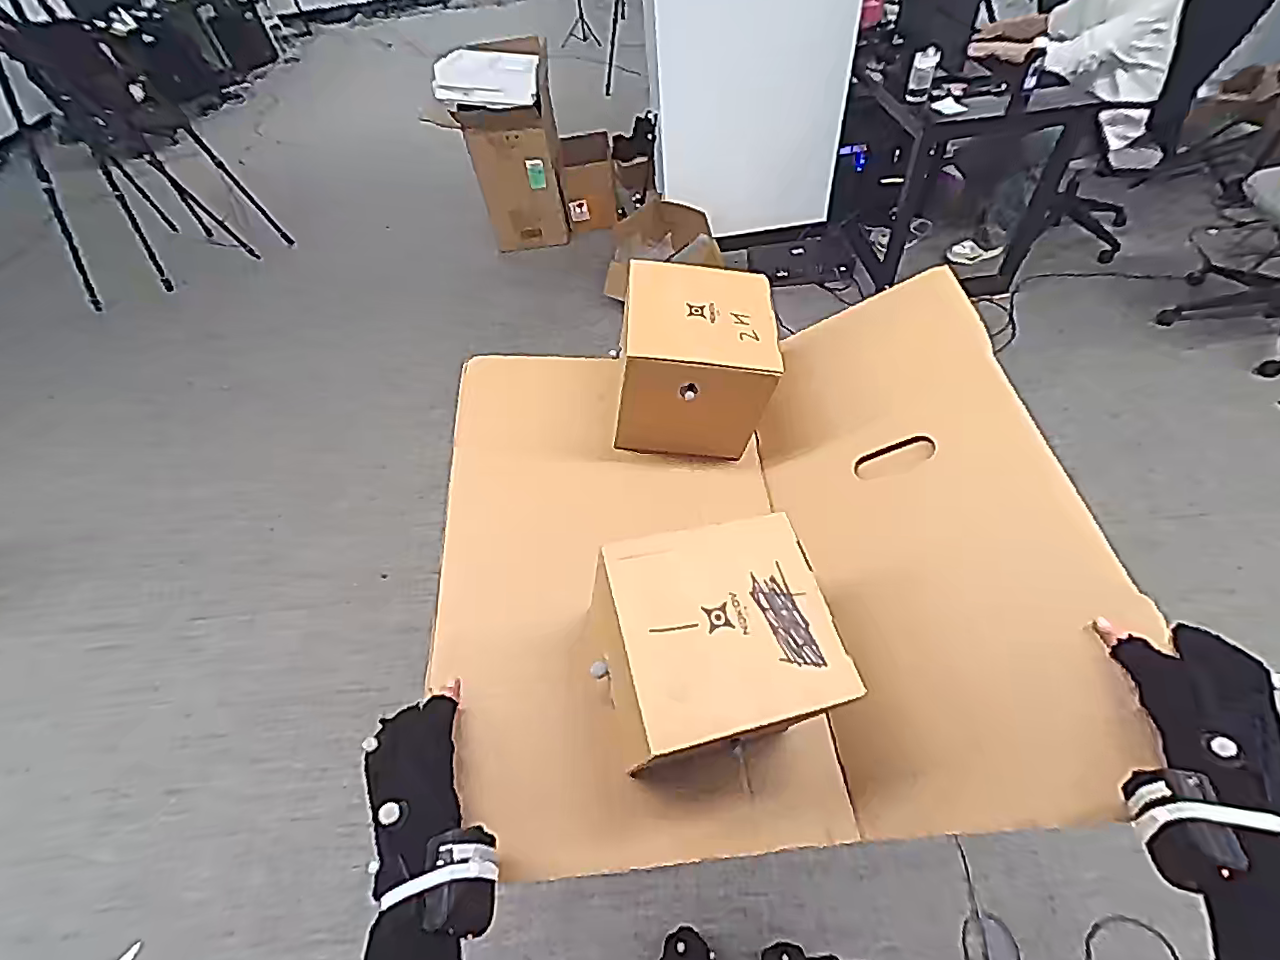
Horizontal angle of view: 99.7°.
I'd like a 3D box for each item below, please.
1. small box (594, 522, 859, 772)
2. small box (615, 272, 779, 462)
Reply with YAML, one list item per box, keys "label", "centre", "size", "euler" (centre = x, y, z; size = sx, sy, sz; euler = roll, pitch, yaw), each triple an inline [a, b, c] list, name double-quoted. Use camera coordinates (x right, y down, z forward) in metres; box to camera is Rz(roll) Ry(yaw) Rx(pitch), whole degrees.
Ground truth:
- label: "small box"
  centre: [0.061, 0.160, 0.508]
  size: [0.179, 0.176, 0.168]
  euler: [-9, 60, -14]
- label: "small box"
  centre: [0.062, -0.138, 0.698]
  size: [0.179, 0.176, 0.168]
  euler: [6, 57, -6]
